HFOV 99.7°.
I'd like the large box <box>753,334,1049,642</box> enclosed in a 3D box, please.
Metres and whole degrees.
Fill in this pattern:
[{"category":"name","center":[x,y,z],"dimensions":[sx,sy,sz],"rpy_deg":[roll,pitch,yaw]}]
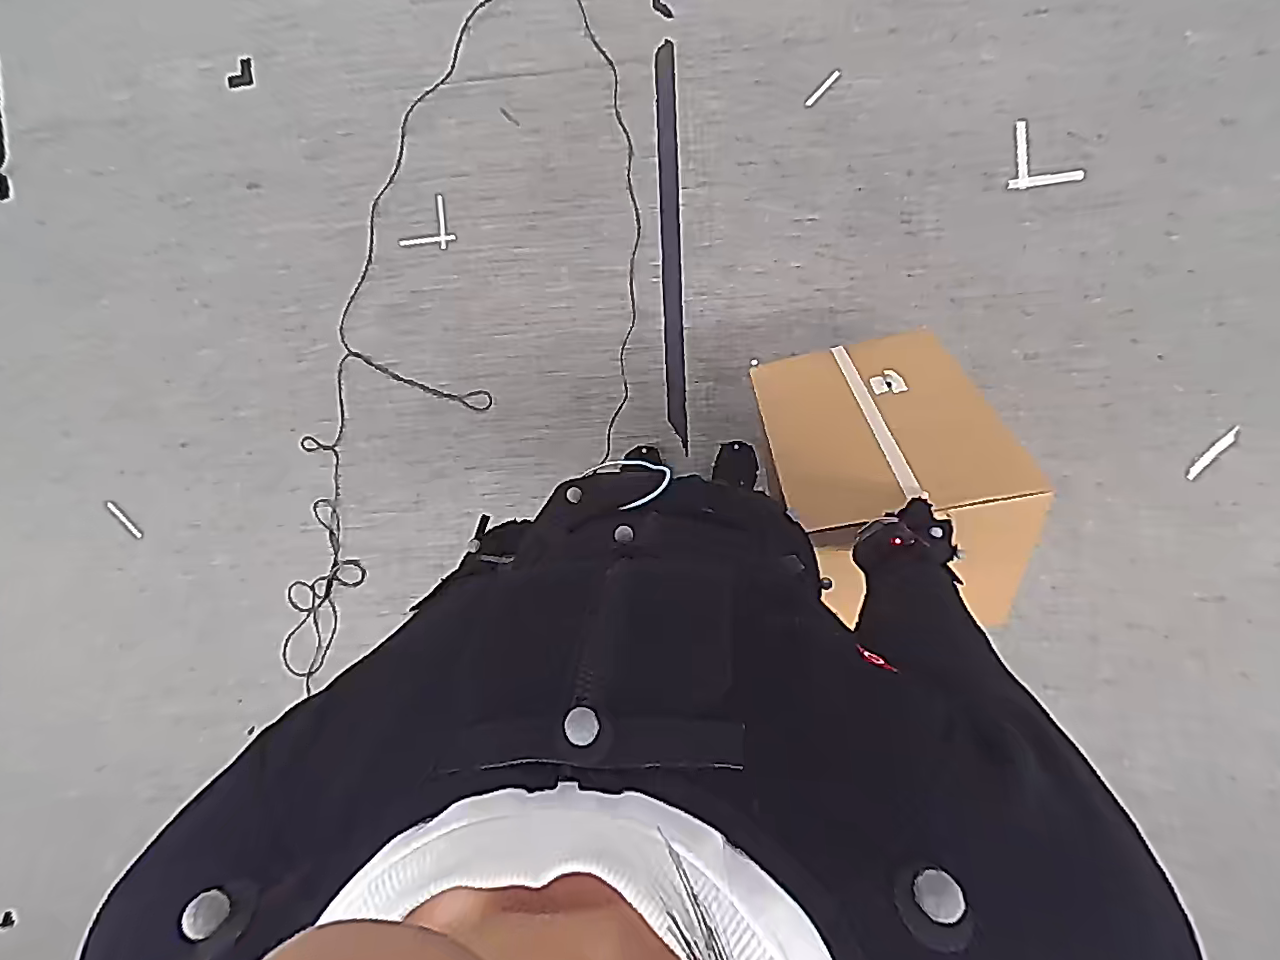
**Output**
[{"category":"large box","center":[0.402,0.010,0.939],"dimensions":[0.320,0.408,0.320],"rpy_deg":[-11,132,9]}]
